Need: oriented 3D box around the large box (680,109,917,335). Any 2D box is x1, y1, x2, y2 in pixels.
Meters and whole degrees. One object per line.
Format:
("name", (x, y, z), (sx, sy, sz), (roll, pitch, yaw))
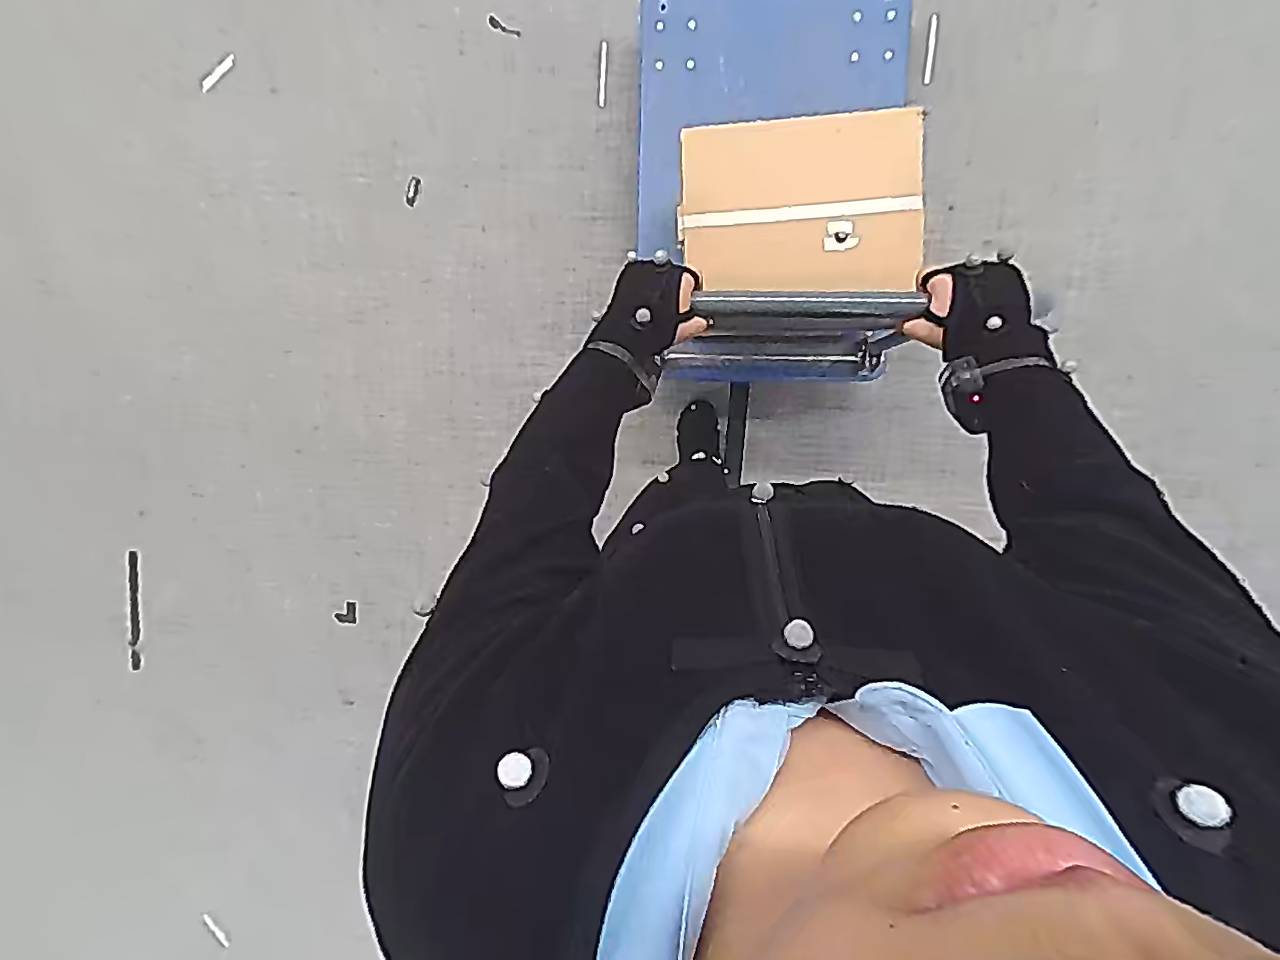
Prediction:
("large box", (0.290, -0.484, 1.094), (0.408, 0.320, 0.320), (-2, 97, 5))
